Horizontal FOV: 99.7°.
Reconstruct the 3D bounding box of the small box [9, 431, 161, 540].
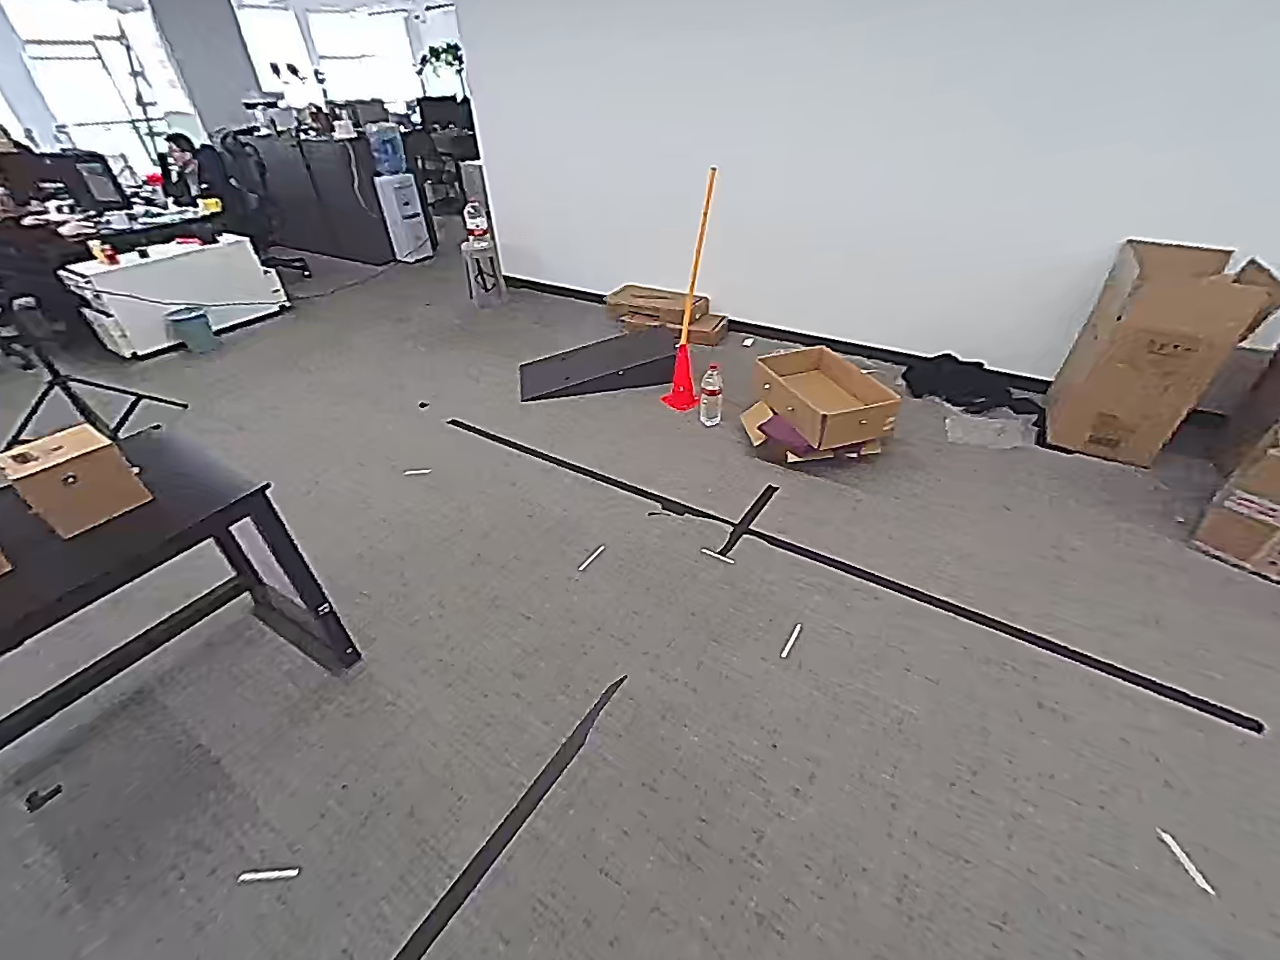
[{"bbox_3d":[-1.296,0.013,1.272,0.168,0.176,0.179,21,42,29],"label":"small box"}]
